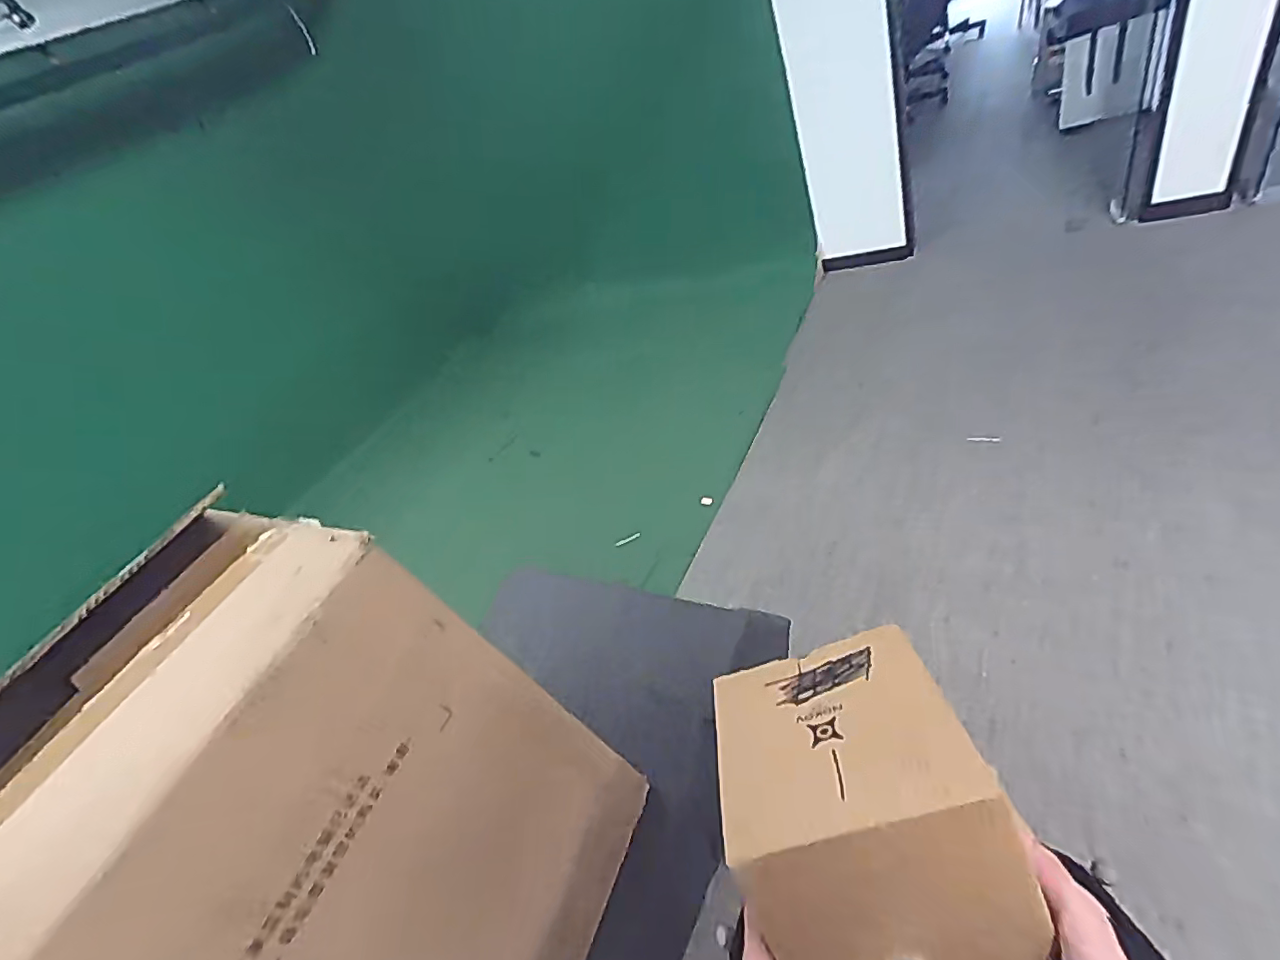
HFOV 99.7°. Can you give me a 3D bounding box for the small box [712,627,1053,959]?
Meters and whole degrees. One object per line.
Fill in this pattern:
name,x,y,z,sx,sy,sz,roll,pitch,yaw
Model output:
small box,0.163,0.249,0.408,0.168,0.176,0.179,-23,14,12
